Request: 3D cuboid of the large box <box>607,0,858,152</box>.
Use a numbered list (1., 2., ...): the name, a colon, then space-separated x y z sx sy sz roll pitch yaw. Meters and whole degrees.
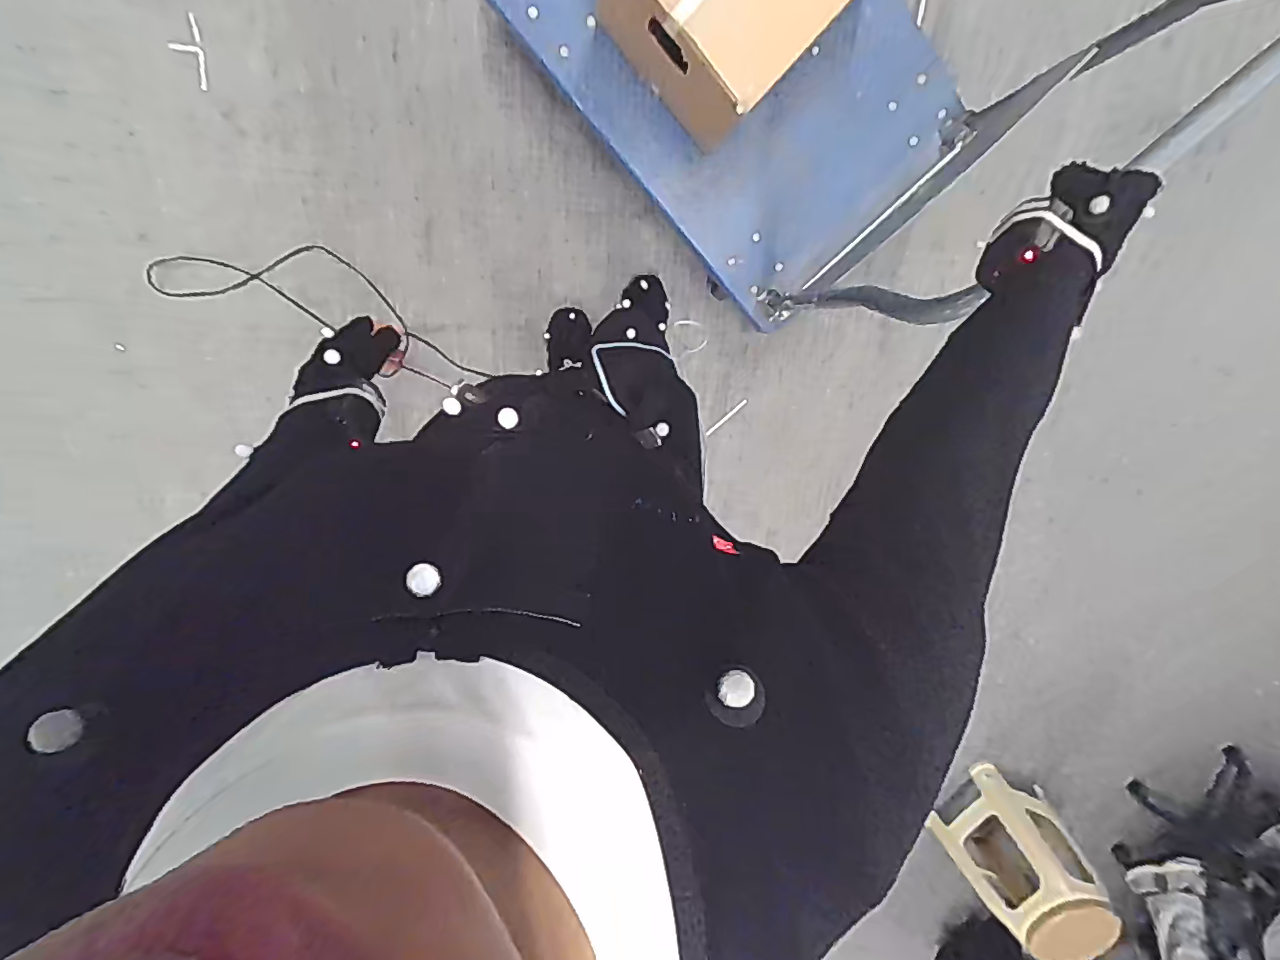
1. large box: 0.189 -0.837 0.873 0.320 0.320 0.408 42 103 -16
